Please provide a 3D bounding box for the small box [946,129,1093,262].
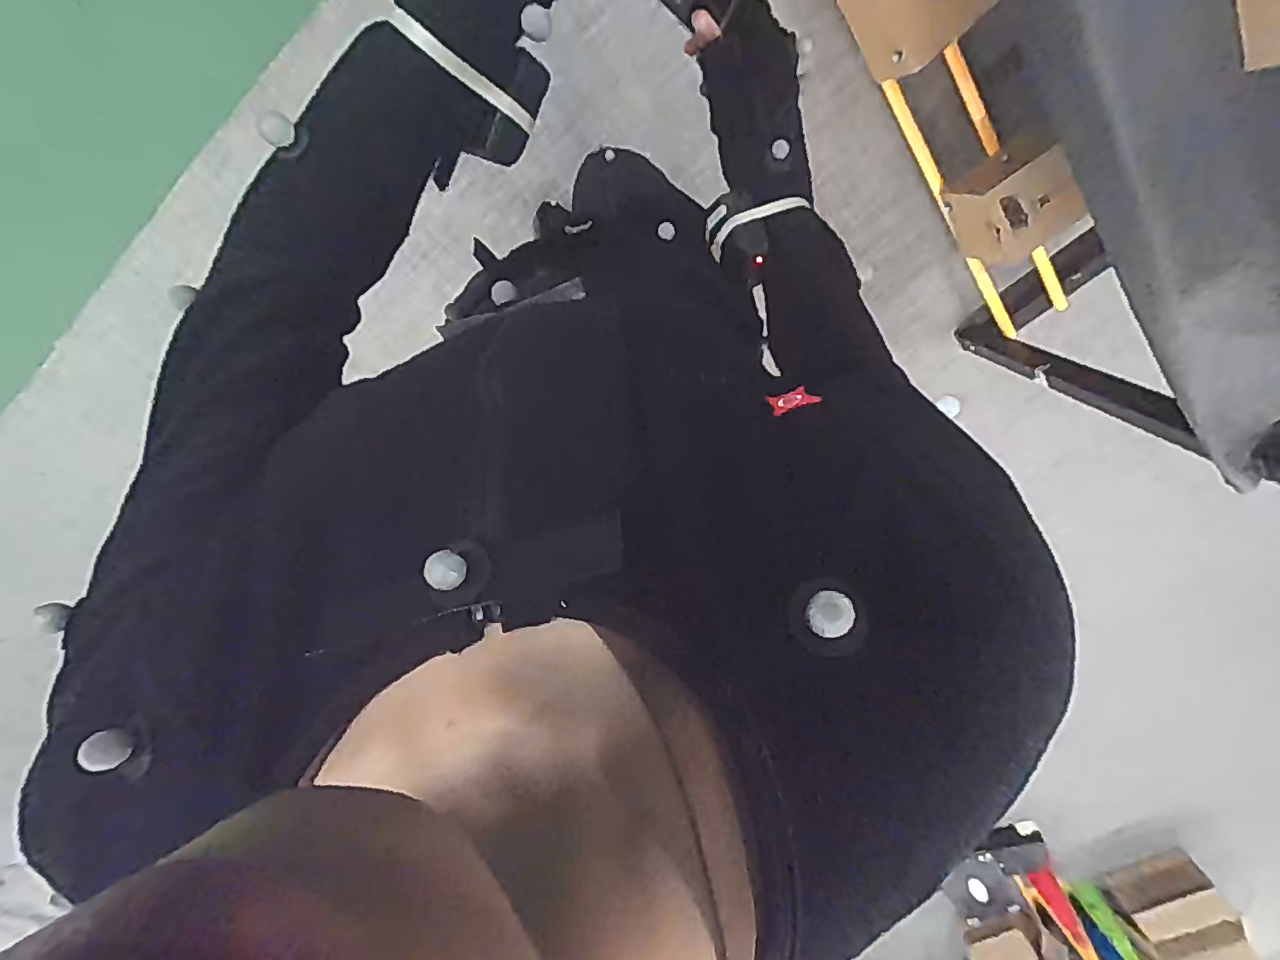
[{"bbox_3d":[0.769,-0.582,1.117,0.179,0.176,0.168,-34,115,14],"label":"small box"}]
